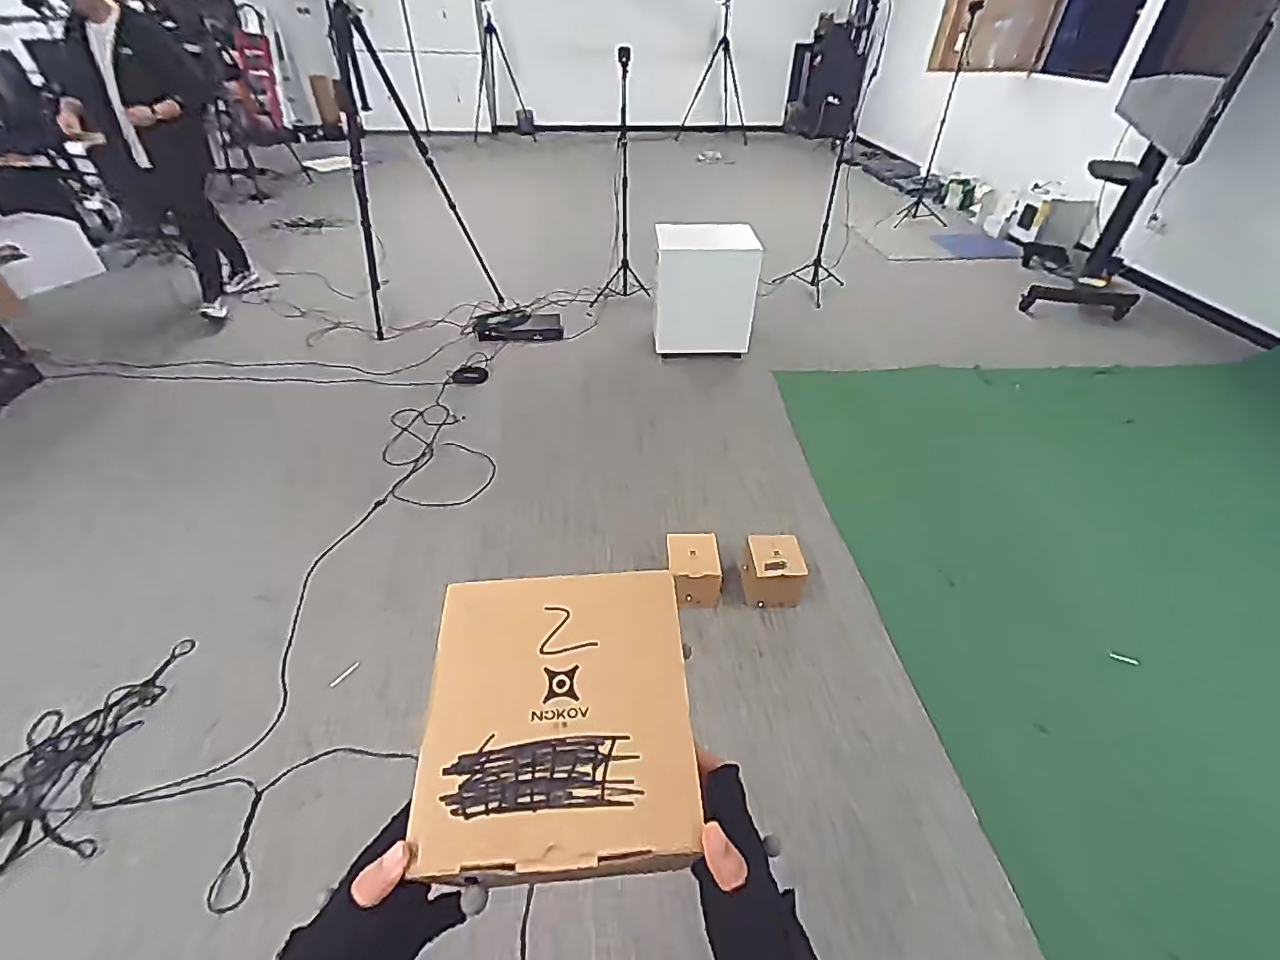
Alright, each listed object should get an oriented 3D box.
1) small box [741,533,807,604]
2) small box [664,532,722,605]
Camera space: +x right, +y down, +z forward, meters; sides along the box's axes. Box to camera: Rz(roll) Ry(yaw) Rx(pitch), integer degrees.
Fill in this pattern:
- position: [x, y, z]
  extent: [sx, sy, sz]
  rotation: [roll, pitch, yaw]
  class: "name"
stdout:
- position: [0.441, 0.298, 1.801]
  extent: [0.168, 0.176, 0.179]
  rotation: [-1, 41, -3]
  class: "small box"
- position: [0.172, 0.294, 1.798]
  extent: [0.168, 0.176, 0.179]
  rotation: [0, 42, -2]
  class: "small box"
